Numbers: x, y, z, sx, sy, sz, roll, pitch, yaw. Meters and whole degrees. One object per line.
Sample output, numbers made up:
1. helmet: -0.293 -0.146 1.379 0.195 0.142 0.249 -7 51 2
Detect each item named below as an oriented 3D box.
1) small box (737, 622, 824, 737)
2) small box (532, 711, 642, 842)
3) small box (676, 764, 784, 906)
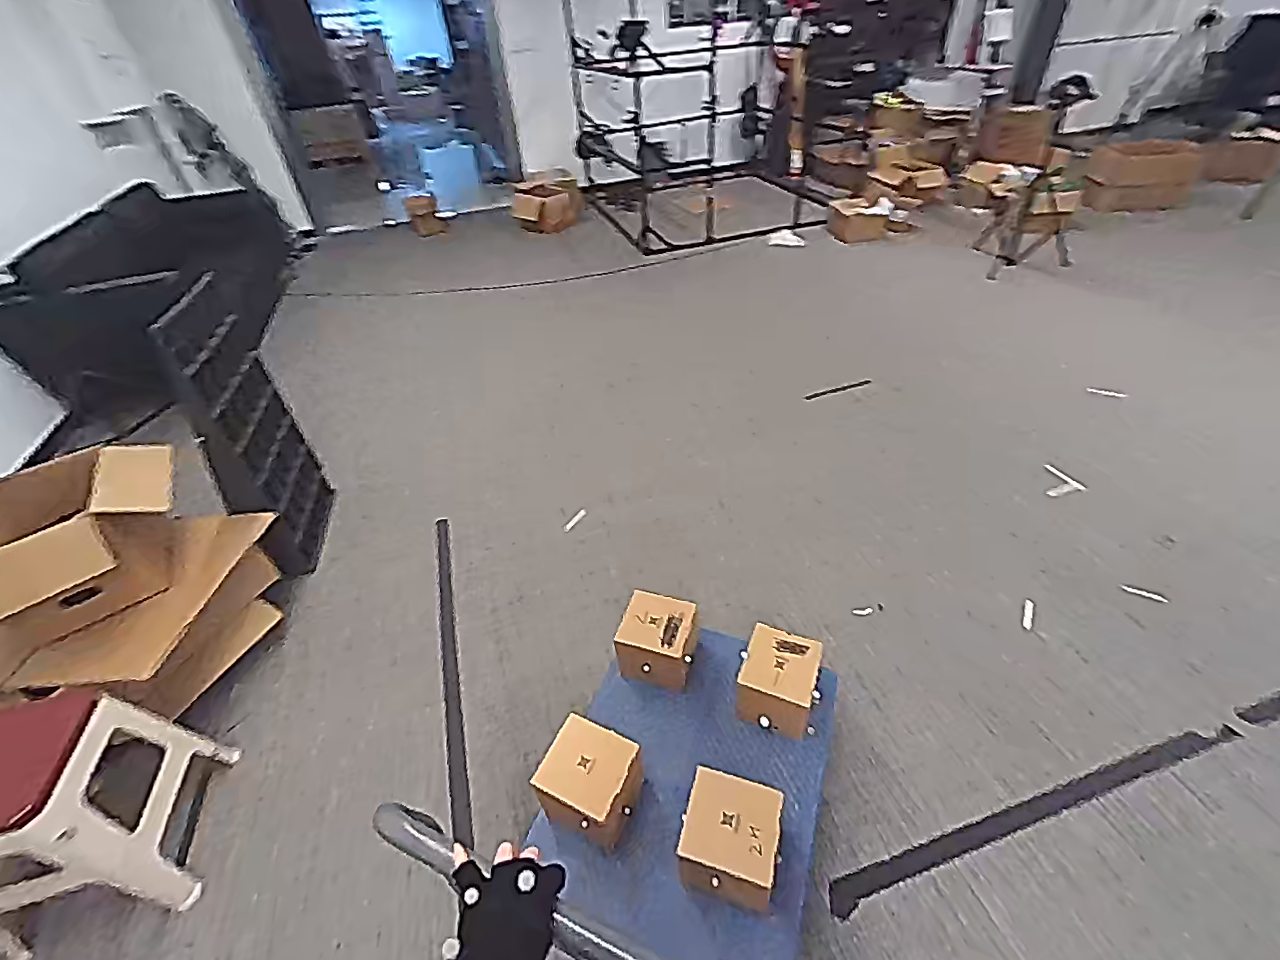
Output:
1. small box: 0.338 0.487 1.319 0.168 0.176 0.179 14 45 21
2. small box: -0.107 0.648 1.178 0.179 0.176 0.168 16 44 21
3. small box: 0.179 0.707 1.076 0.179 0.176 0.168 10 43 18
